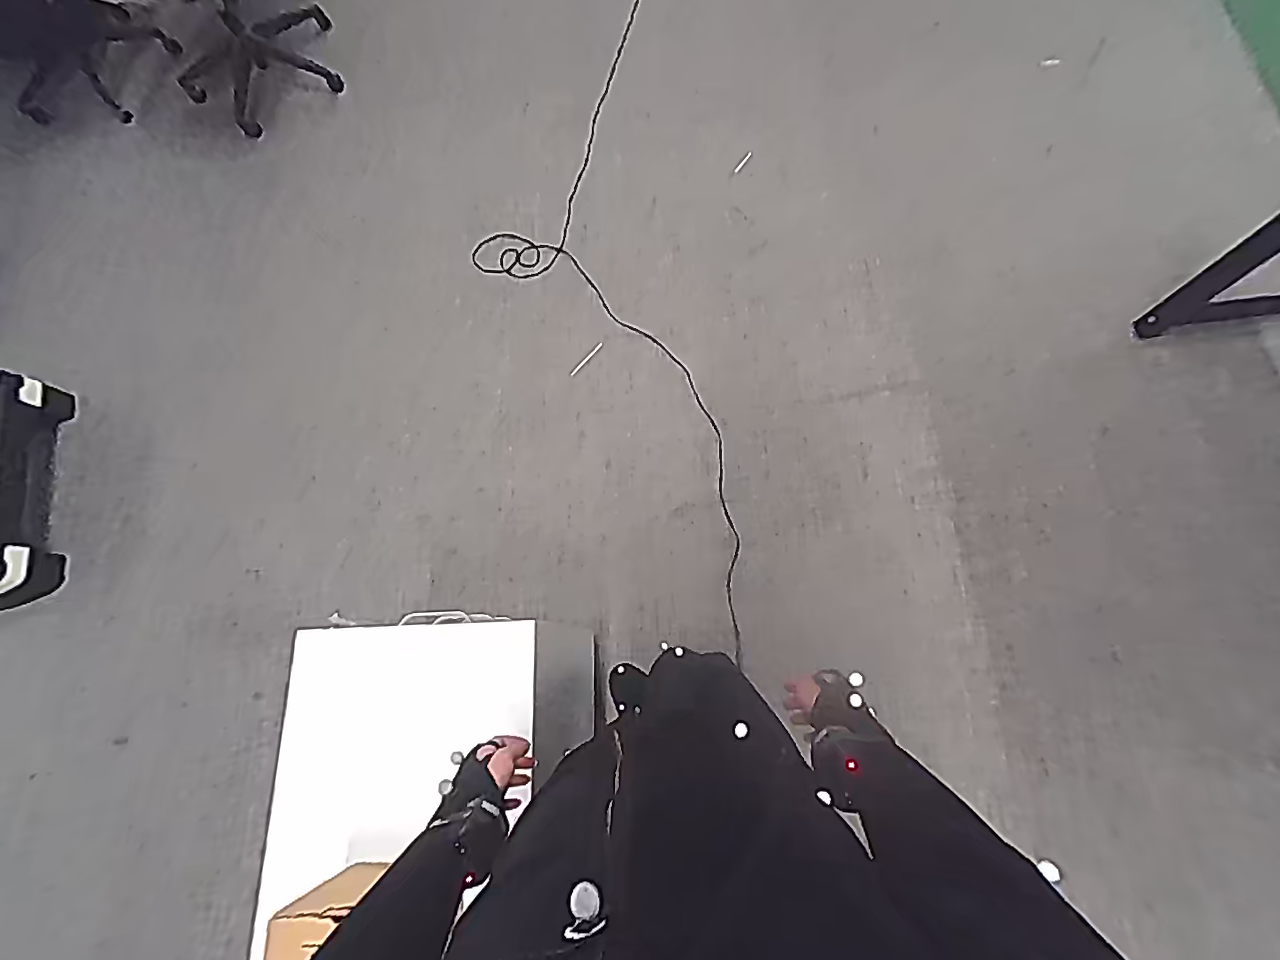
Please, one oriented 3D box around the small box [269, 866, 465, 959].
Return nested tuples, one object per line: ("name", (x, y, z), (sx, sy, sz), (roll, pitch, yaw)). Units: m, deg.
("small box", (-0.329, 0.603, 0.667), (0.168, 0.176, 0.179), (-3, 73, 5))
